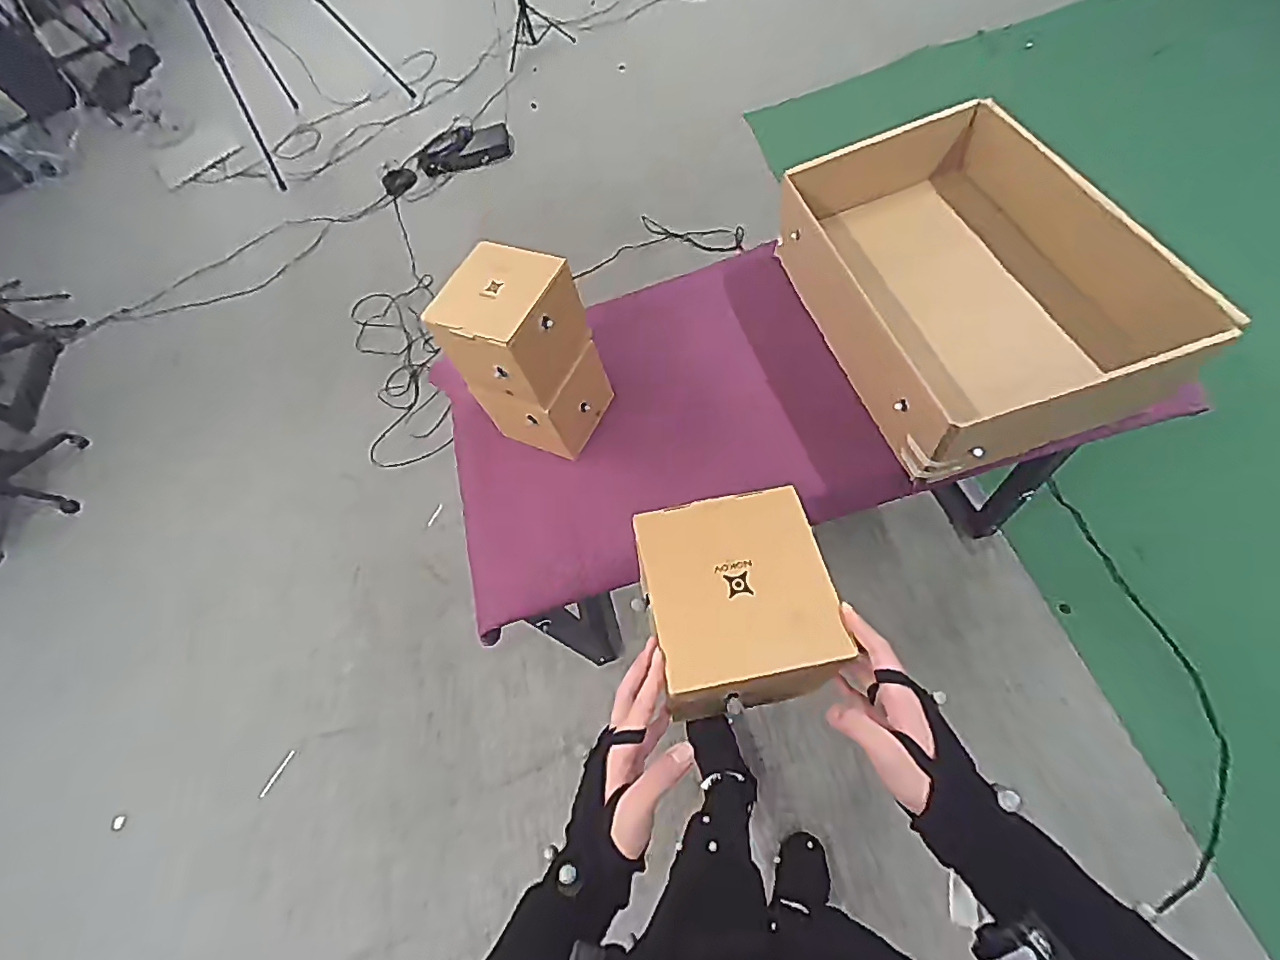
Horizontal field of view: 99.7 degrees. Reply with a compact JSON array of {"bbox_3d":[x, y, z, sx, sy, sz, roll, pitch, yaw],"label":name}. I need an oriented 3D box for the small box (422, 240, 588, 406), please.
[{"bbox_3d":[-0.203,-0.248,0.873,0.168,0.176,0.179,21,69,20],"label":"small box"}]

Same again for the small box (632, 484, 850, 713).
[{"bbox_3d":[0.091,0.132,0.564,0.168,0.176,0.179,-11,57,-3],"label":"small box"}]

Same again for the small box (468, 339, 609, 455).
[{"bbox_3d":[-0.178,-0.168,1.014,0.179,0.176,0.168,21,68,21],"label":"small box"}]
